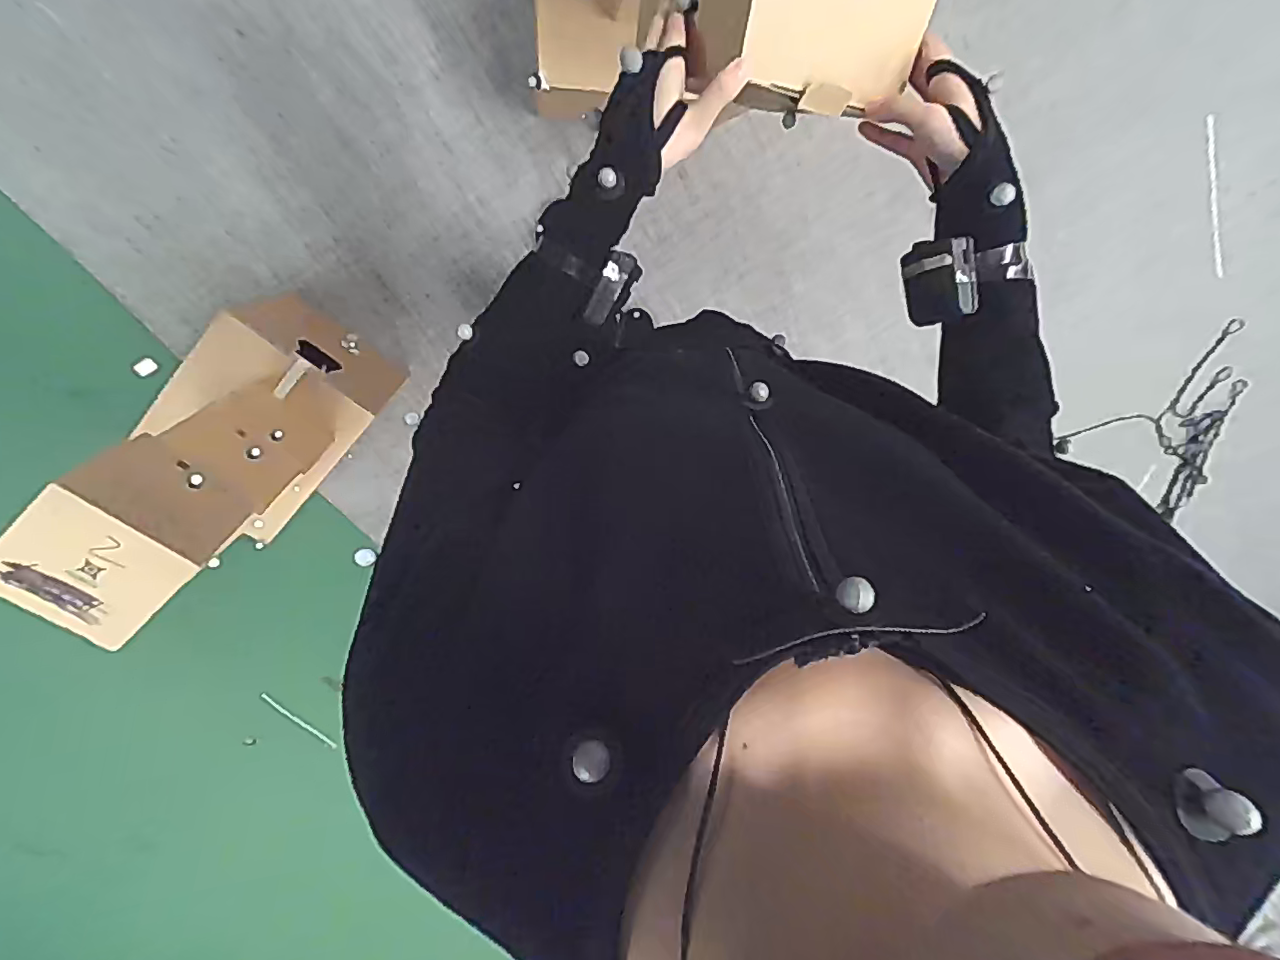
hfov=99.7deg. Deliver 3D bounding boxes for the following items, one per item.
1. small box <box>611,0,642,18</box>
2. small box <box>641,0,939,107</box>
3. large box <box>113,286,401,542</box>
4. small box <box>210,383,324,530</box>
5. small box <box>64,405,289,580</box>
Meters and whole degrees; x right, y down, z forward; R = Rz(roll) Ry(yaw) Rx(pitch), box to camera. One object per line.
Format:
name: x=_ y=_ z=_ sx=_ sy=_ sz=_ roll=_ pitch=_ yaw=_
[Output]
small box: x=0.054 y=-0.796 z=0.780 sx=0.179 sy=0.176 sz=0.168 roll=-6 pitch=115 yaw=-9
small box: x=0.116 y=-0.405 z=0.407 sx=0.168 sy=0.176 sz=0.179 roll=-8 pitch=126 yaw=-29
large box: x=-0.804 y=-0.154 z=1.194 sx=0.320 sy=0.320 sz=0.408 roll=40 pitch=104 yaw=-24
small box: x=-0.721 y=-0.049 z=0.985 sx=0.168 sy=0.176 sz=0.179 roll=-40 pitch=116 yaw=8
small box: x=-0.693 y=0.013 z=0.837 sx=0.179 sy=0.176 sz=0.168 roll=-39 pitch=116 yaw=8
